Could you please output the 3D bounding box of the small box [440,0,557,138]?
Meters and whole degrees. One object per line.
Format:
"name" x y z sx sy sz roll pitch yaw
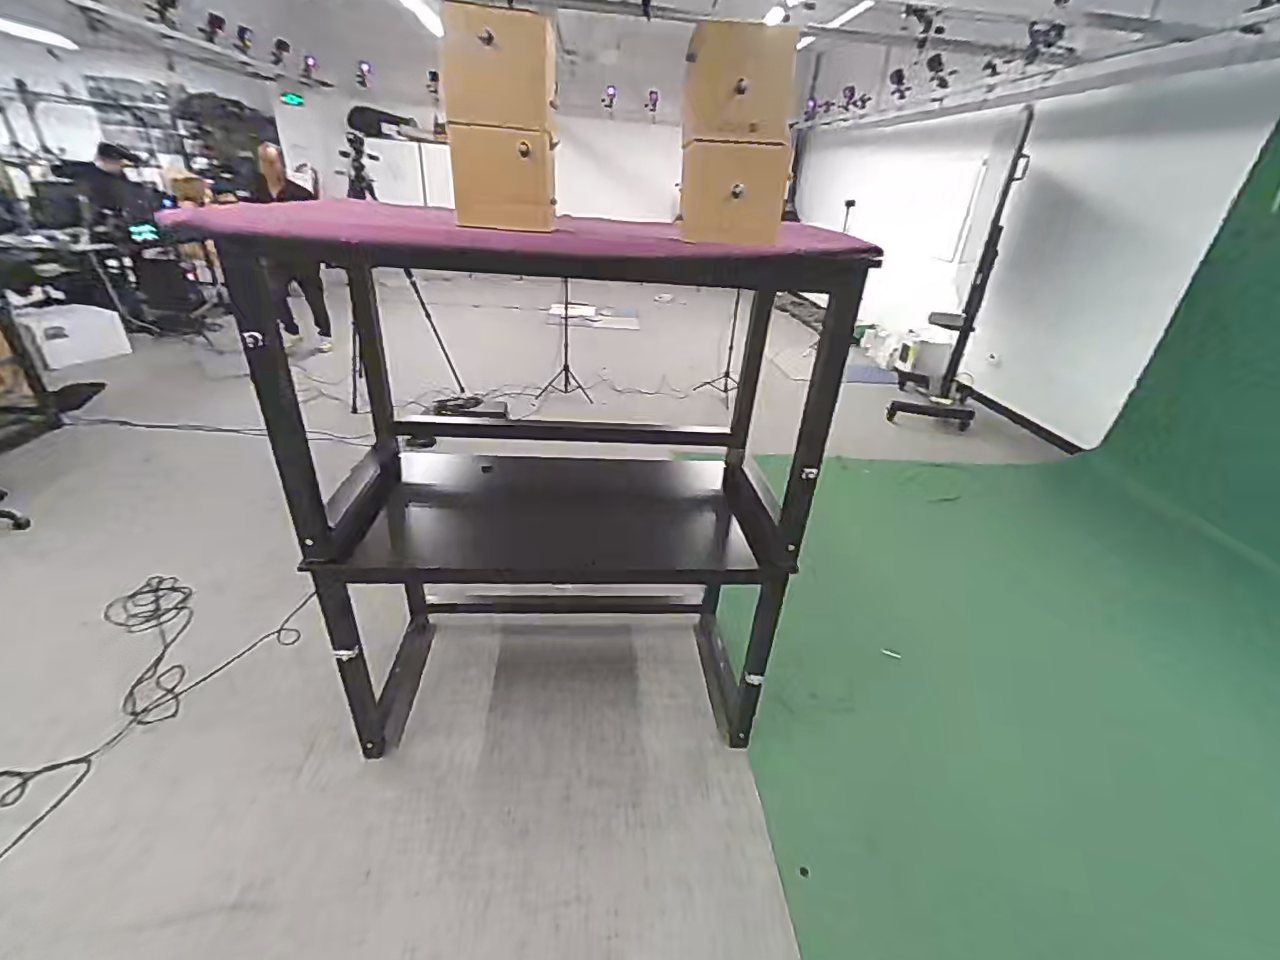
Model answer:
"small box" -0.244 -0.727 0.973 0.179 0.176 0.168 3 28 -5

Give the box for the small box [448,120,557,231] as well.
"small box" -0.256 -0.579 1.044 0.179 0.176 0.168 3 28 -5

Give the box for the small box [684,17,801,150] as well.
"small box" 0.174 -0.699 0.973 0.168 0.176 0.179 1 27 -4
